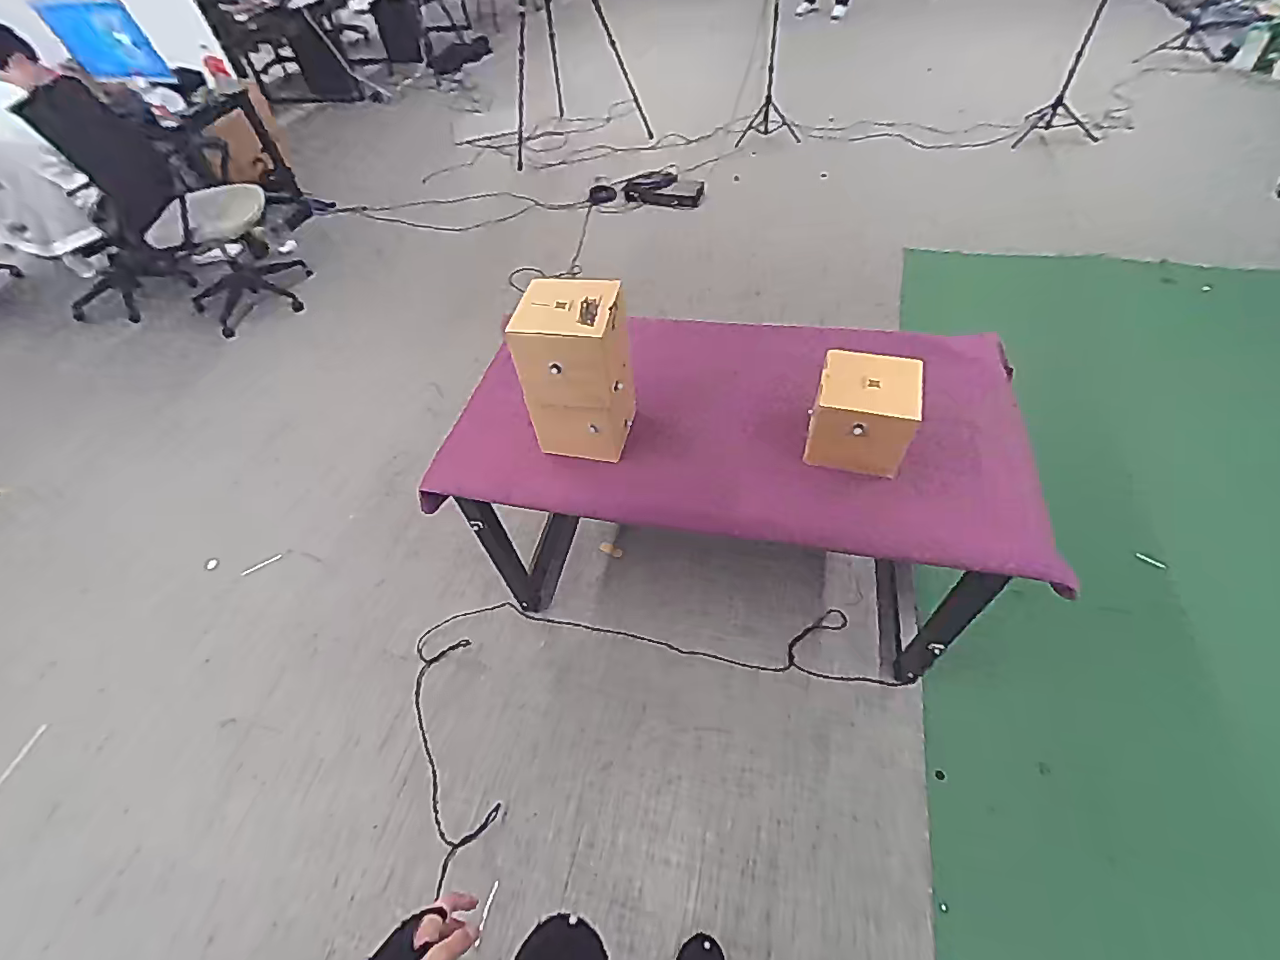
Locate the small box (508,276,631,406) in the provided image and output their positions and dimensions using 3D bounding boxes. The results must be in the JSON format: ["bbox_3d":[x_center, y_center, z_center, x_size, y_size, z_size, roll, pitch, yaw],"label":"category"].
[{"bbox_3d":[-0.118,-0.256,1.009,0.179,0.176,0.168,6,53,10],"label":"small box"}]

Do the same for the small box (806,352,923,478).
[{"bbox_3d":[0.439,-0.124,1.069,0.179,0.176,0.168,11,55,15],"label":"small box"}]
